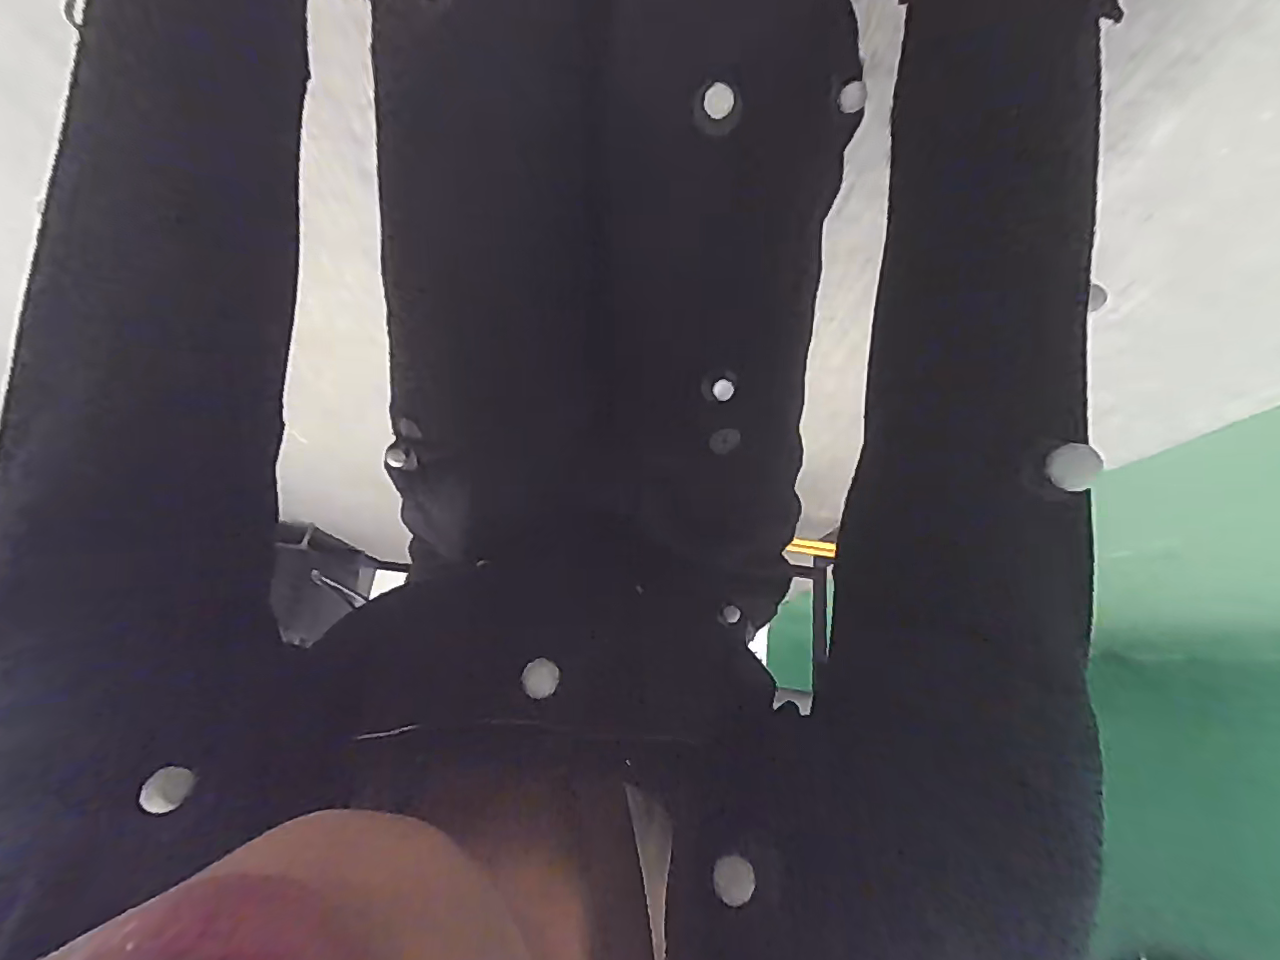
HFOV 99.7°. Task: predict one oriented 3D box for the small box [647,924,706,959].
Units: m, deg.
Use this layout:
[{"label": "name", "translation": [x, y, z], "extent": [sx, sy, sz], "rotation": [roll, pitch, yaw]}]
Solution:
[{"label": "small box", "translation": [0.115, 1.556, 1.731], "extent": [0.168, 0.176, 0.179], "rotation": [8, 160, -2]}]
